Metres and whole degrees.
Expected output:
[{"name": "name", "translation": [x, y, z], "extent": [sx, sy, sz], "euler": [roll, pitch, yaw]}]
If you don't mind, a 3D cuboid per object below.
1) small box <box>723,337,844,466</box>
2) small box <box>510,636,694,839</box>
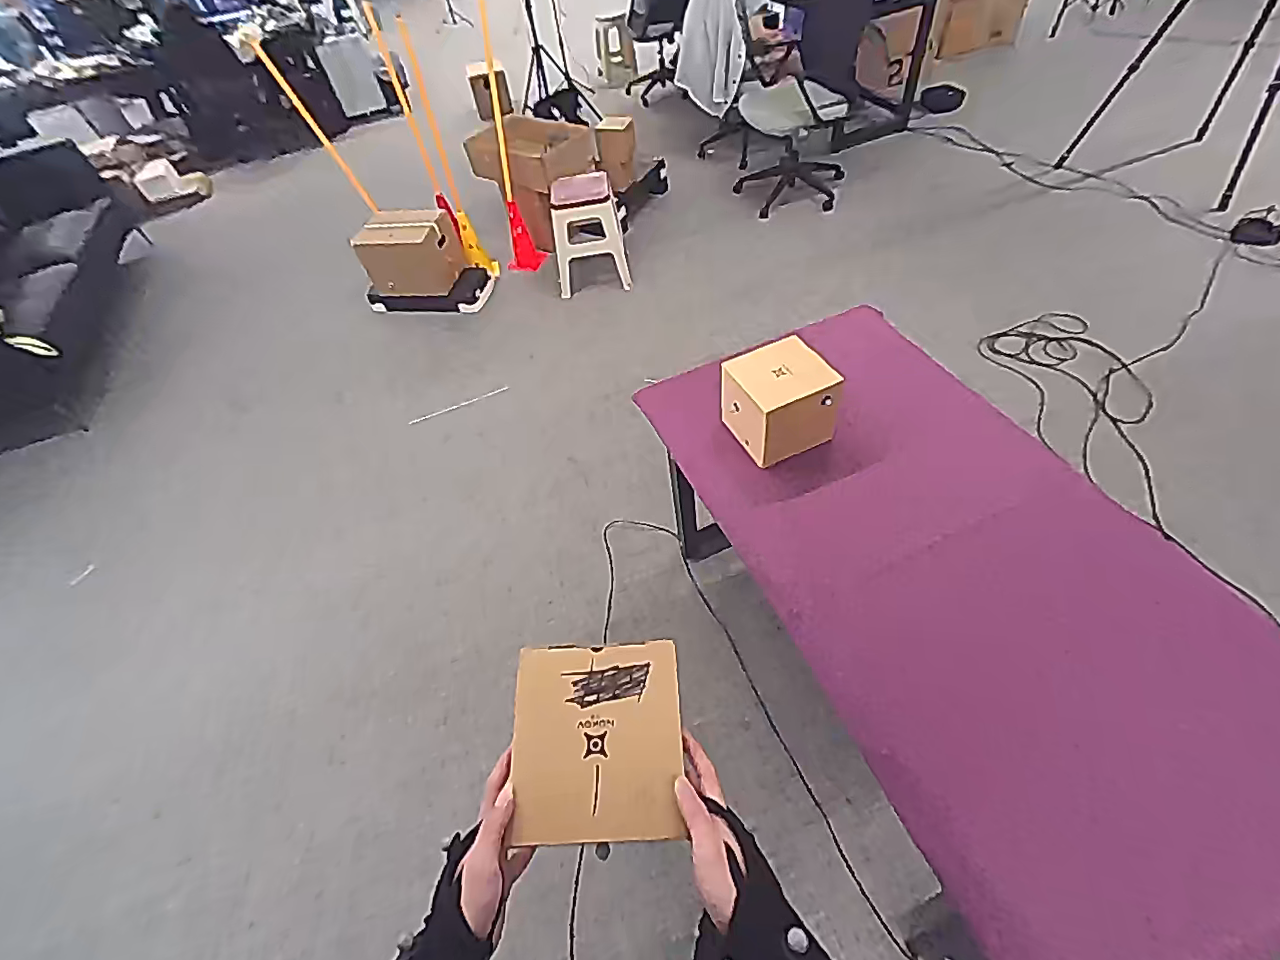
[{"name": "small box", "translation": [0.285, -0.156, 1.105], "extent": [0.179, 0.176, 0.168], "euler": [-23, 52, -10]}, {"name": "small box", "translation": [-0.033, 0.282, 0.587], "extent": [0.168, 0.176, 0.179], "euler": [-3, 58, 1]}]
